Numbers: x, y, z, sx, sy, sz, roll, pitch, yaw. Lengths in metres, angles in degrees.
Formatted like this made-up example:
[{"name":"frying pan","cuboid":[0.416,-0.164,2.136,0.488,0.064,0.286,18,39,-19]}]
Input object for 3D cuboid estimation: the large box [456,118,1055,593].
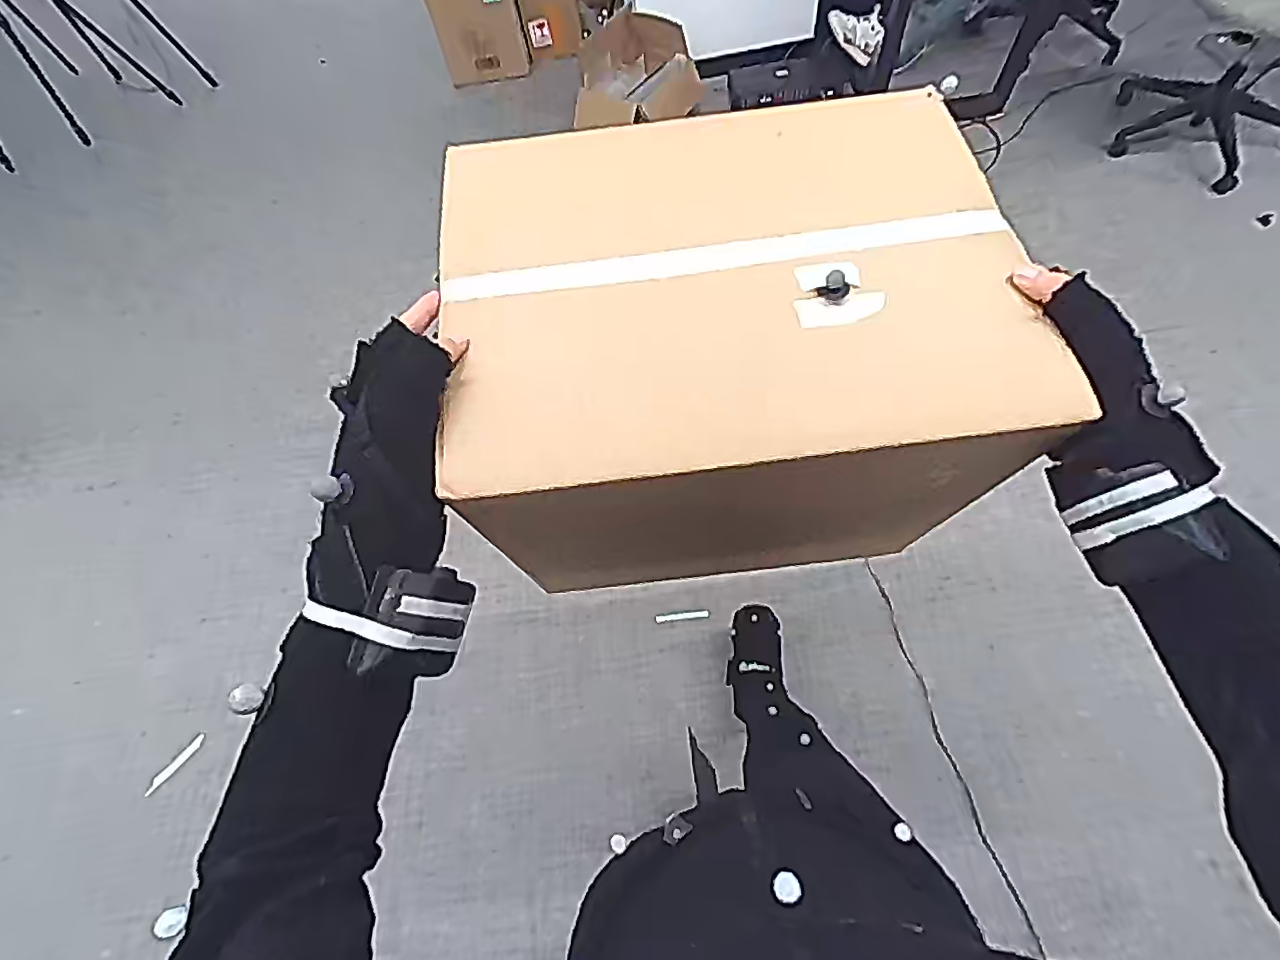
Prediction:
[{"name":"large box","cuboid":[0.064,-0.092,0.545,0.408,0.320,0.320,-7,67,0]}]
